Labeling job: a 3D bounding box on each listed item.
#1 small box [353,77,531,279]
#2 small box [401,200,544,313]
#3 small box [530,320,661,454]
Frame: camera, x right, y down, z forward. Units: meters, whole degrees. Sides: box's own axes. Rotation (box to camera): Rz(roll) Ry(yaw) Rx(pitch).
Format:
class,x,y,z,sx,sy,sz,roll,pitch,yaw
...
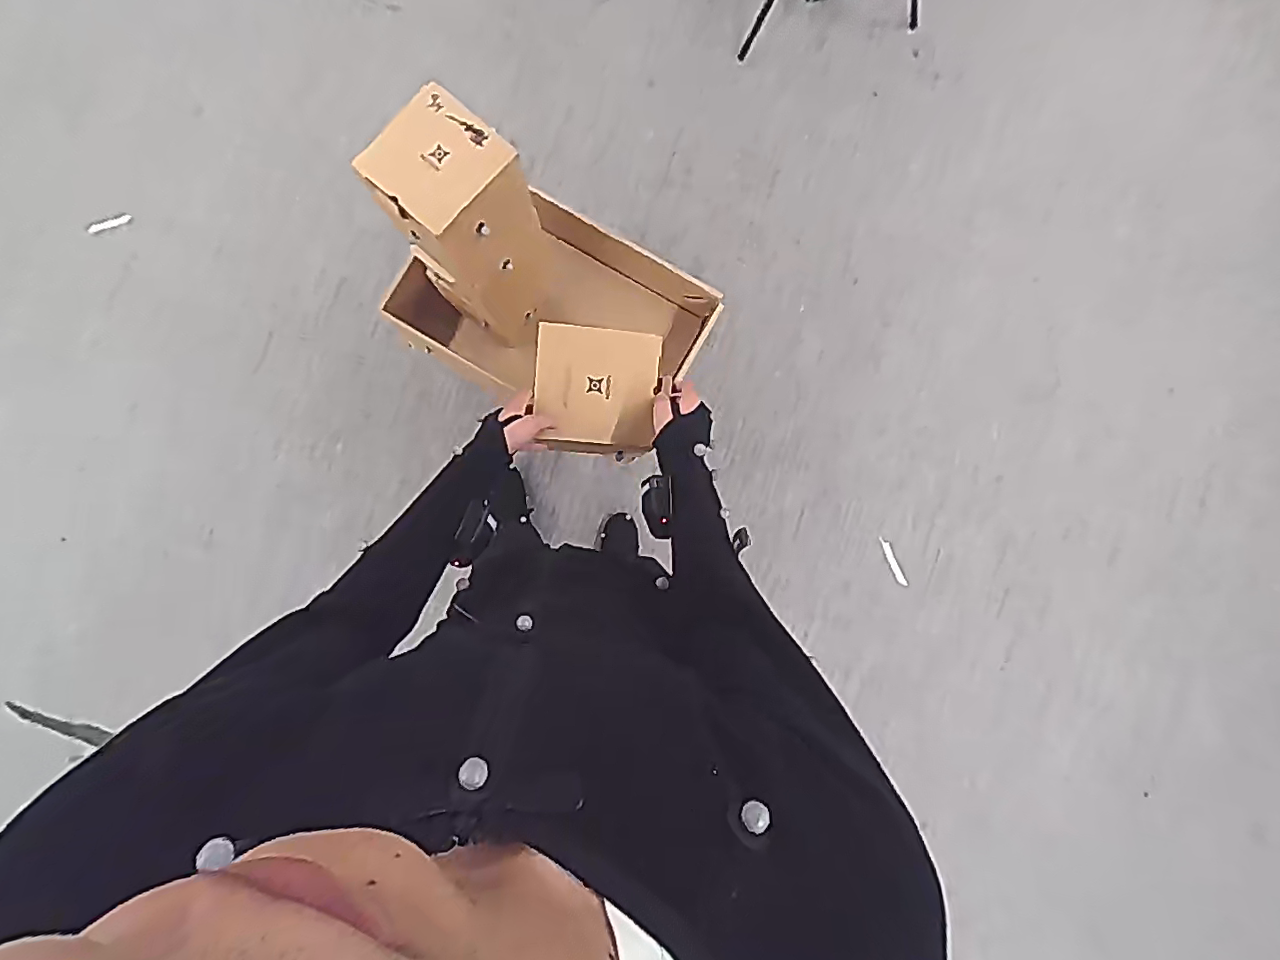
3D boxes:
class,x,y,z,sx,sy,sz,roll,pitch,yaw
small box,-0.290,-0.452,0.841,0.168,0.176,0.179,42,86,1
small box,-0.296,-0.446,1.005,0.168,0.176,0.179,38,85,1
small box,-0.072,-0.132,0.833,0.179,0.176,0.168,4,87,-8
